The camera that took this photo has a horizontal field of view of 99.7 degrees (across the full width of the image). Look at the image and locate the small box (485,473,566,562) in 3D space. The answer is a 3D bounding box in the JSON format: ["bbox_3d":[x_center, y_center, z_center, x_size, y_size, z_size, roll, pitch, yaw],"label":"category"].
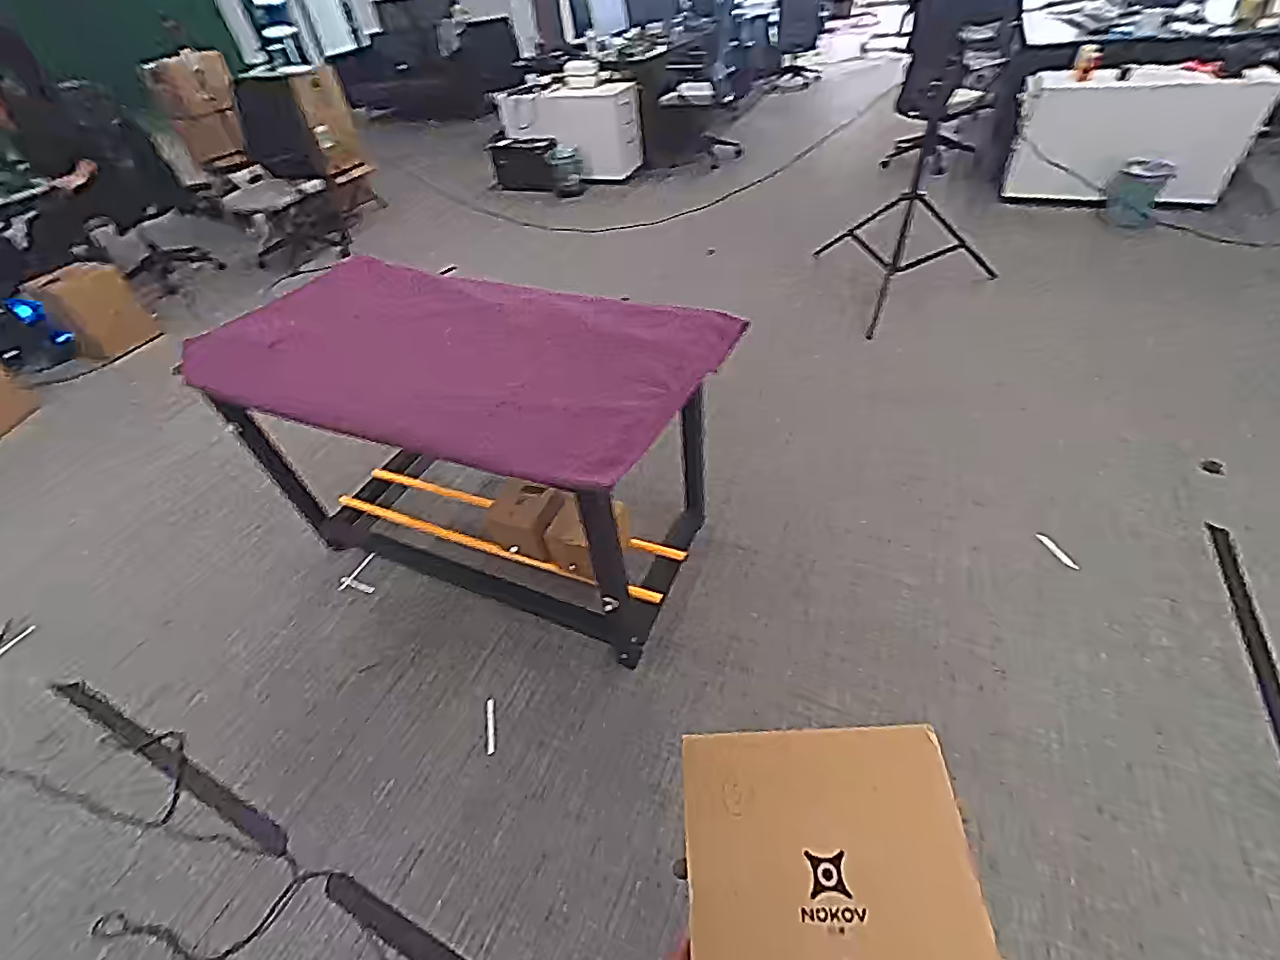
[{"bbox_3d":[-0.326,0.112,1.607,0.168,0.176,0.179,13,51,21],"label":"small box"}]

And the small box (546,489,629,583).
[{"bbox_3d":[-0.140,0.159,1.532,0.168,0.176,0.179,13,50,21],"label":"small box"}]

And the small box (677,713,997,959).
[{"bbox_3d":[0.121,0.274,0.373,0.168,0.176,0.179,-8,55,10],"label":"small box"}]
